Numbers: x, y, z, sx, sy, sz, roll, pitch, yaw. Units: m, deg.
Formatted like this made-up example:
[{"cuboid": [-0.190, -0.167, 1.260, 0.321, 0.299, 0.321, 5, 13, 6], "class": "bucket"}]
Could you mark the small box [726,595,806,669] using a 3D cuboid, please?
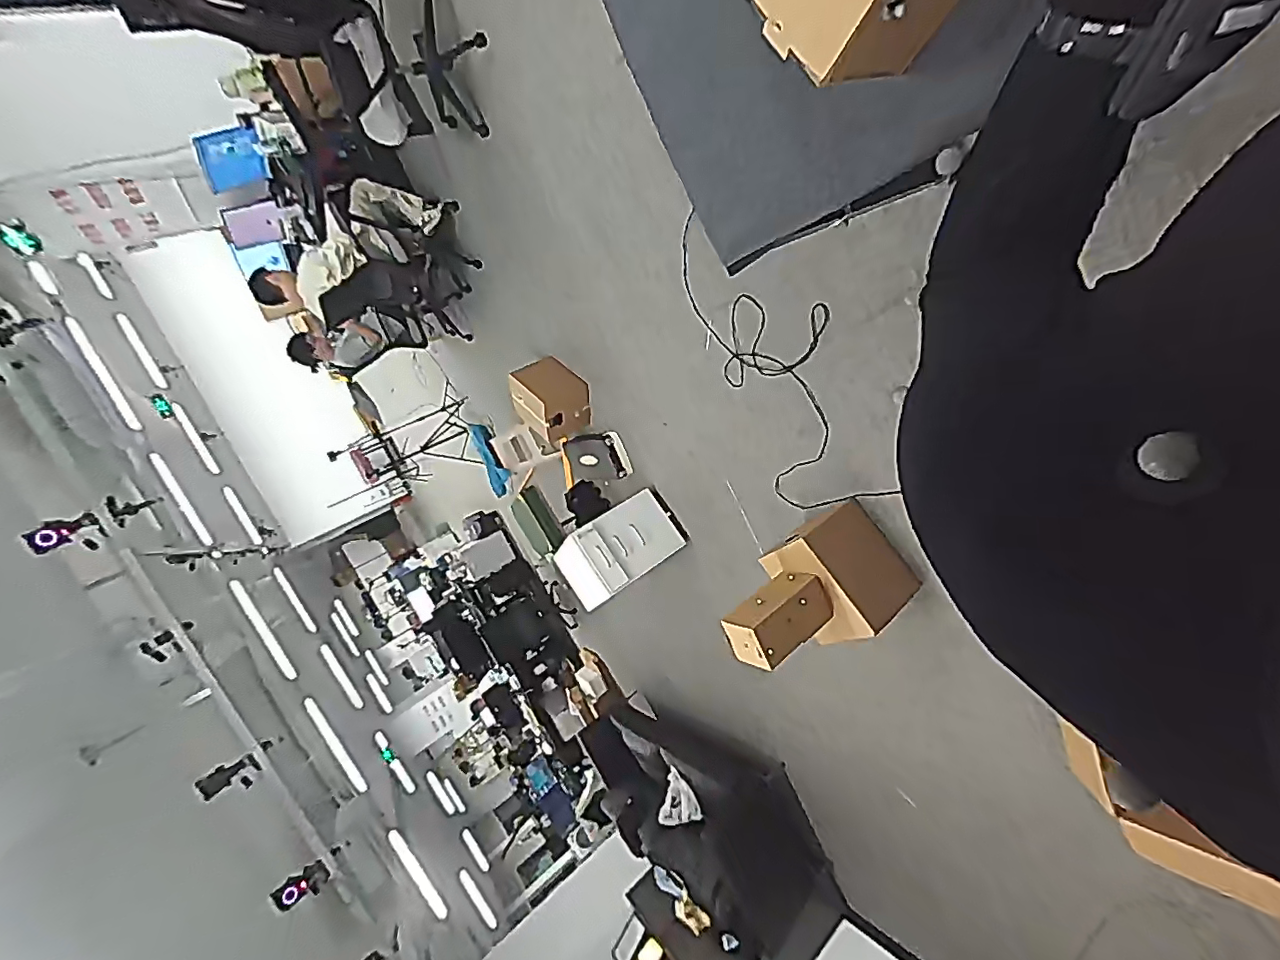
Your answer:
[{"cuboid": [0.435, 0.515, 1.866, 0.179, 0.176, 0.168, -7, 111, 62], "class": "small box"}]

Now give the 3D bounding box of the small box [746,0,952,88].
[{"cuboid": [0.243, -0.562, 0.569, 0.168, 0.176, 0.179, 56, 151, 7], "class": "small box"}]
